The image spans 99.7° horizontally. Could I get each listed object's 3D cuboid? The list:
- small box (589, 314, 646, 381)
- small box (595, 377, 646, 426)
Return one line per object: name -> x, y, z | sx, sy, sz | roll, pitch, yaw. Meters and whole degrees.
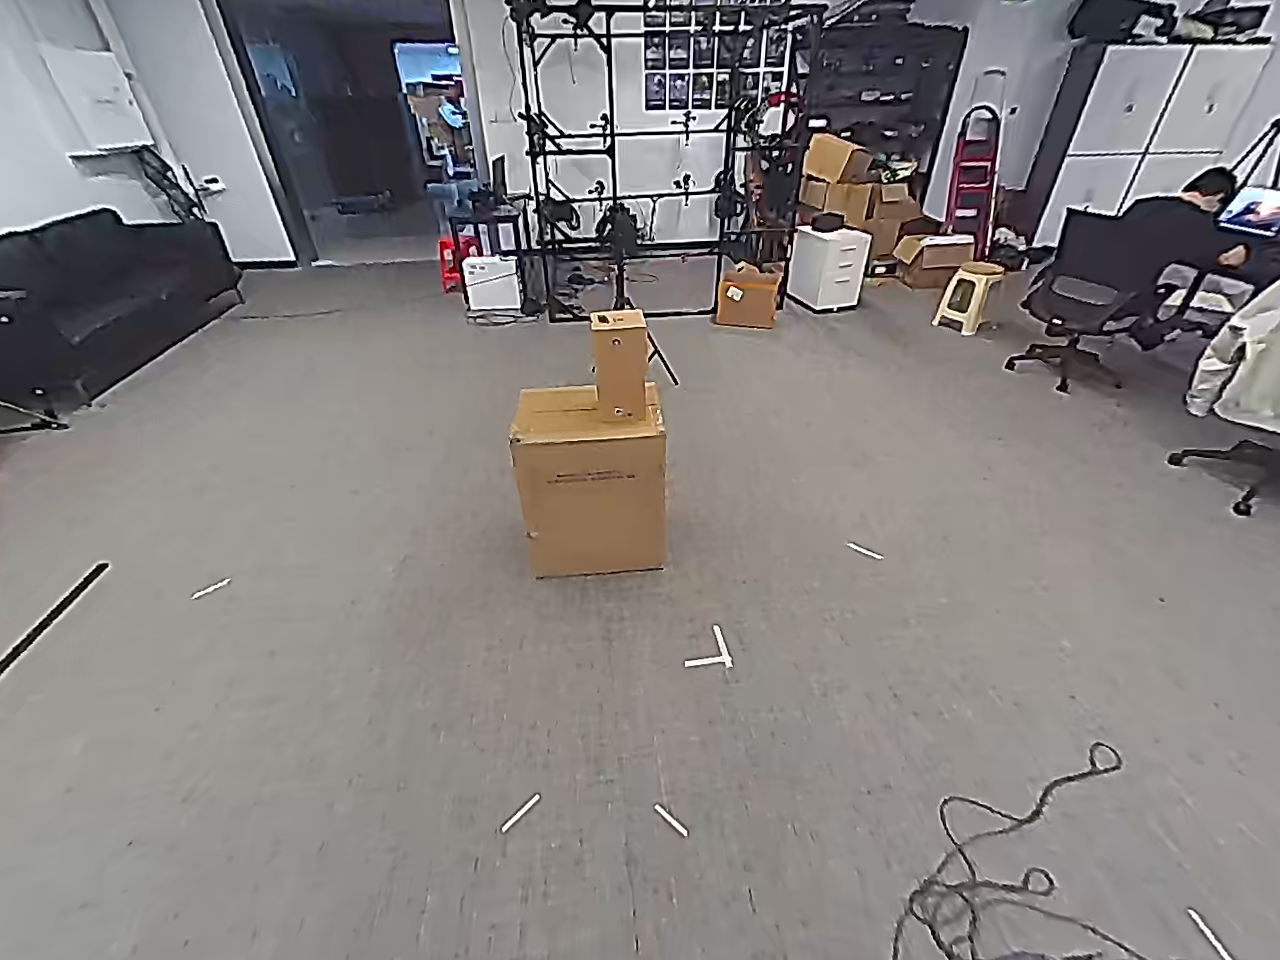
small box -> -0.074, -0.441, 1.805 | 0.179, 0.176, 0.168 | -5, 36, -3
small box -> -0.071, -0.307, 1.902 | 0.168, 0.176, 0.179 | -6, 37, -3
